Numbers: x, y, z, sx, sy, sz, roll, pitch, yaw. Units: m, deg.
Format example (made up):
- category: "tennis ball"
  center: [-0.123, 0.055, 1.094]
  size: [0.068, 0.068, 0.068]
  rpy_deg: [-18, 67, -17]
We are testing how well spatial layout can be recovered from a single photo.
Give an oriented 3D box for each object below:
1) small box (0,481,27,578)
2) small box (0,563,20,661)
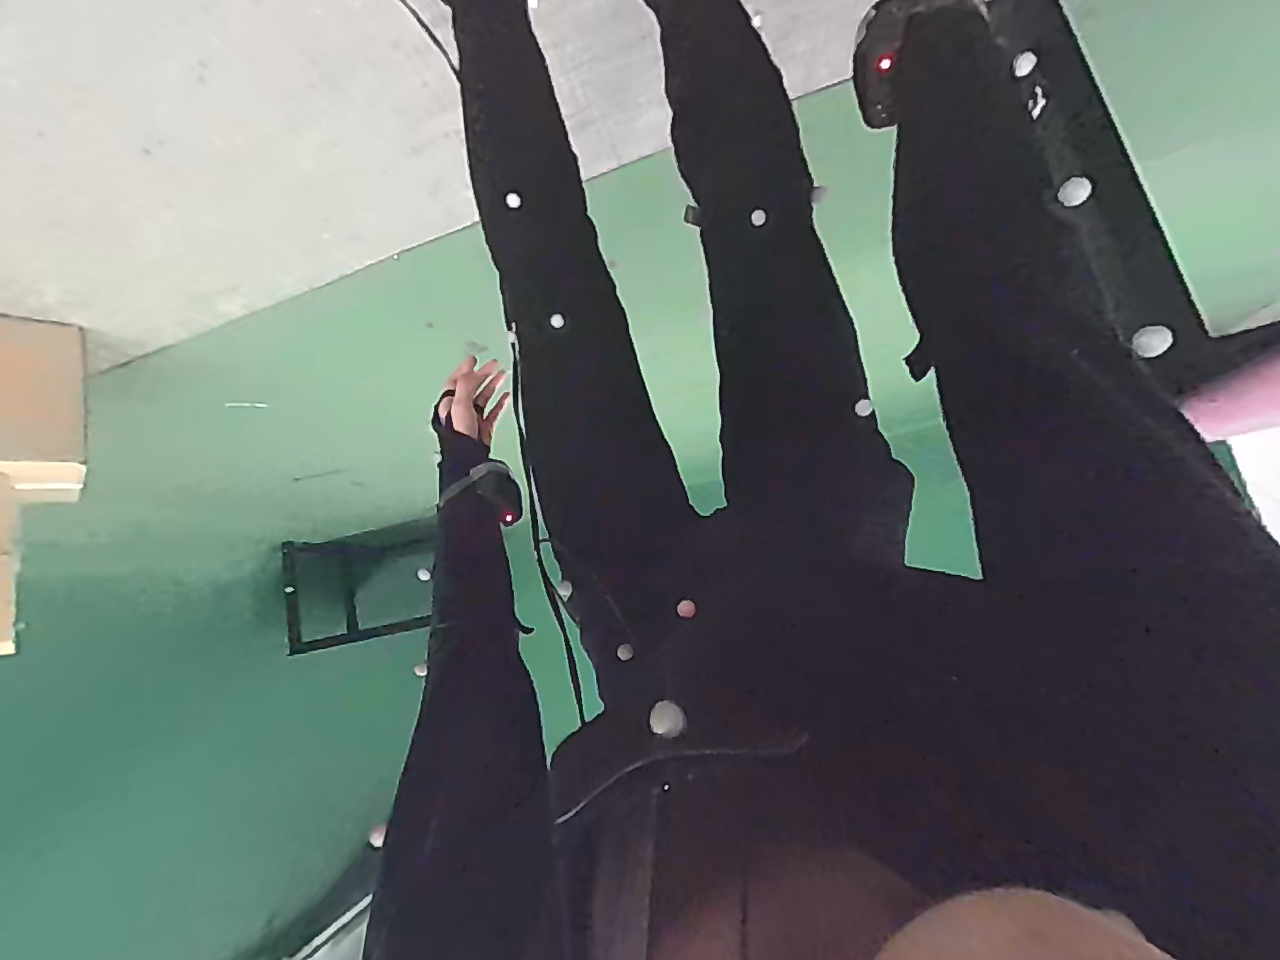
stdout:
- category: "small box"
  center: [-1.316, 0.102, 1.040]
  size: [0.168, 0.176, 0.179]
  rpy_deg: [-2, 164, -43]
- category: "small box"
  center: [-1.273, 0.255, 0.998]
  size: [0.179, 0.176, 0.168]
  rpy_deg: [-24, 164, 40]
